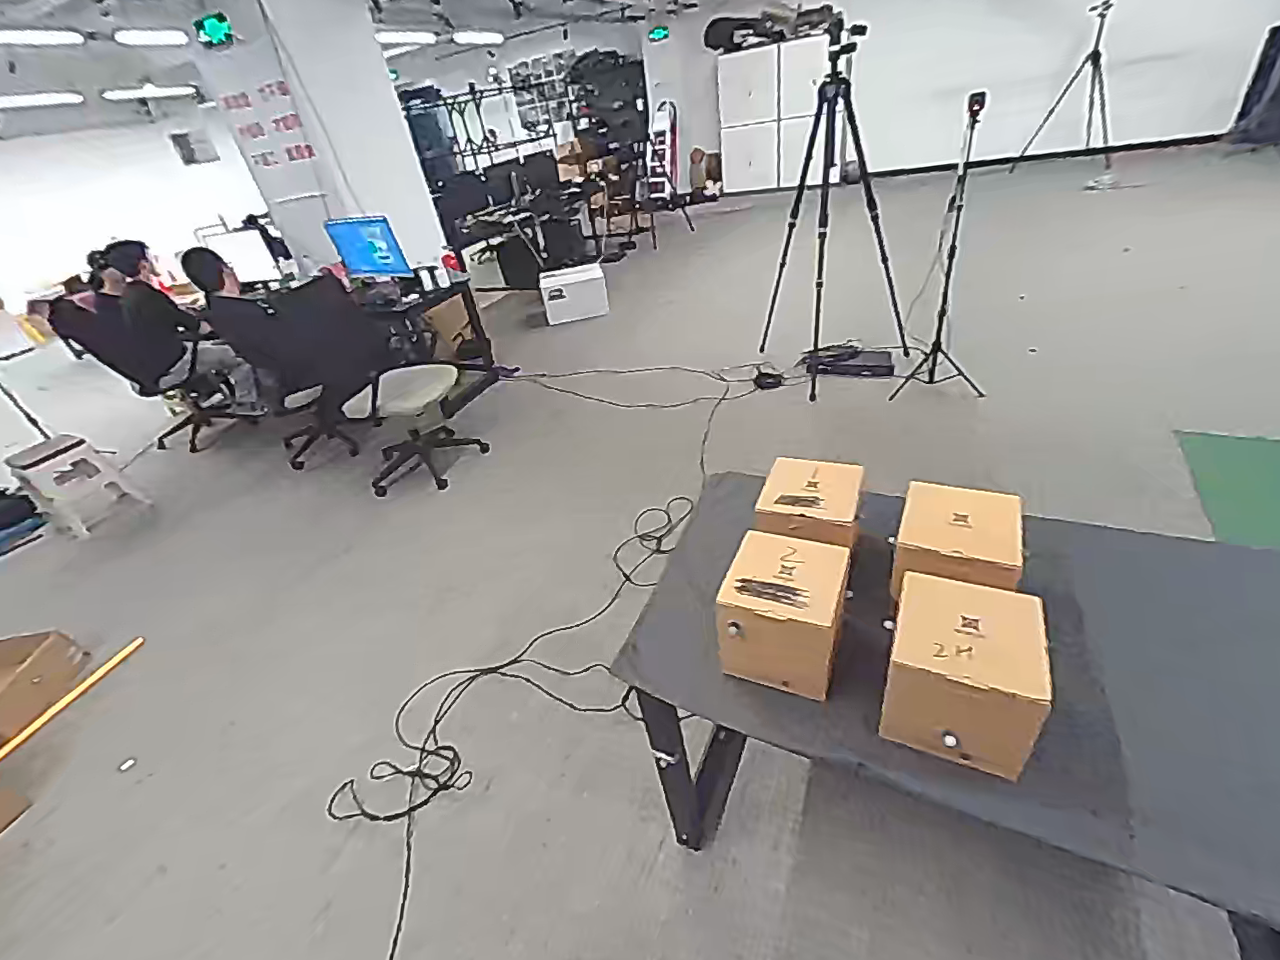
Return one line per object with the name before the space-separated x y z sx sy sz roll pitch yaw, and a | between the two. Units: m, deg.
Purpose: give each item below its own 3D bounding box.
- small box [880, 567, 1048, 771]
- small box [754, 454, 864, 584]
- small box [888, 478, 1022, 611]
small box | 0.436 0.254 0.746 0.168 0.176 0.179 10 38 27
small box | 0.325 0.073 1.034 0.168 0.176 0.179 9 39 25
small box | 0.525 0.125 0.913 0.168 0.176 0.179 11 41 27
